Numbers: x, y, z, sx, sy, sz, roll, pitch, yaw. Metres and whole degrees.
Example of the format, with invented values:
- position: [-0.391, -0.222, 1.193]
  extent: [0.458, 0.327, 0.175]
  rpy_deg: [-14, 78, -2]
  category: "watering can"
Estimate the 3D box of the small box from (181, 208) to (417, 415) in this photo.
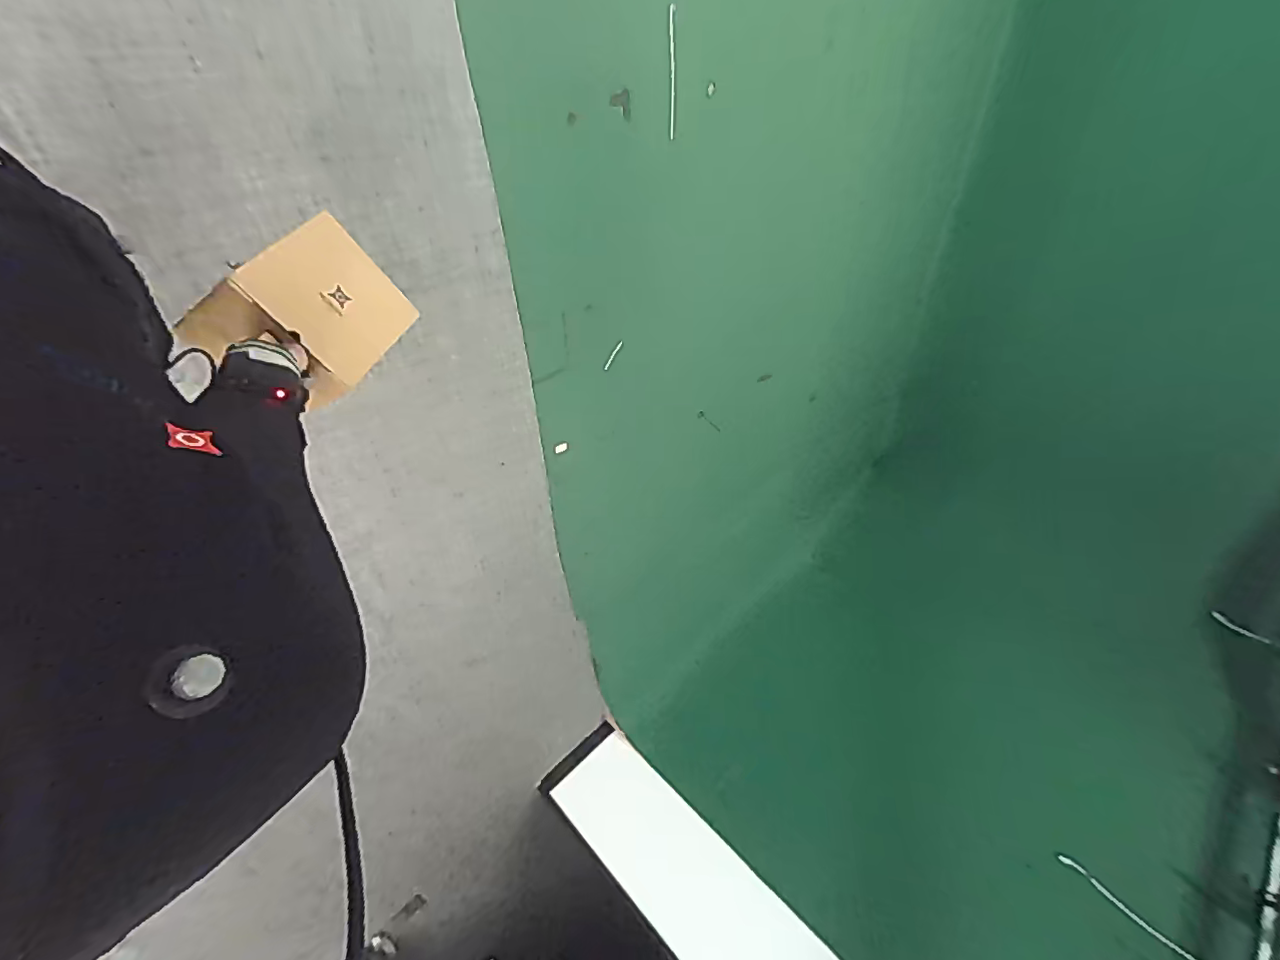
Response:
- position: [-0.442, -0.213, 0.710]
  extent: [0.168, 0.176, 0.179]
  rpy_deg: [51, 41, -34]
  category: "small box"
